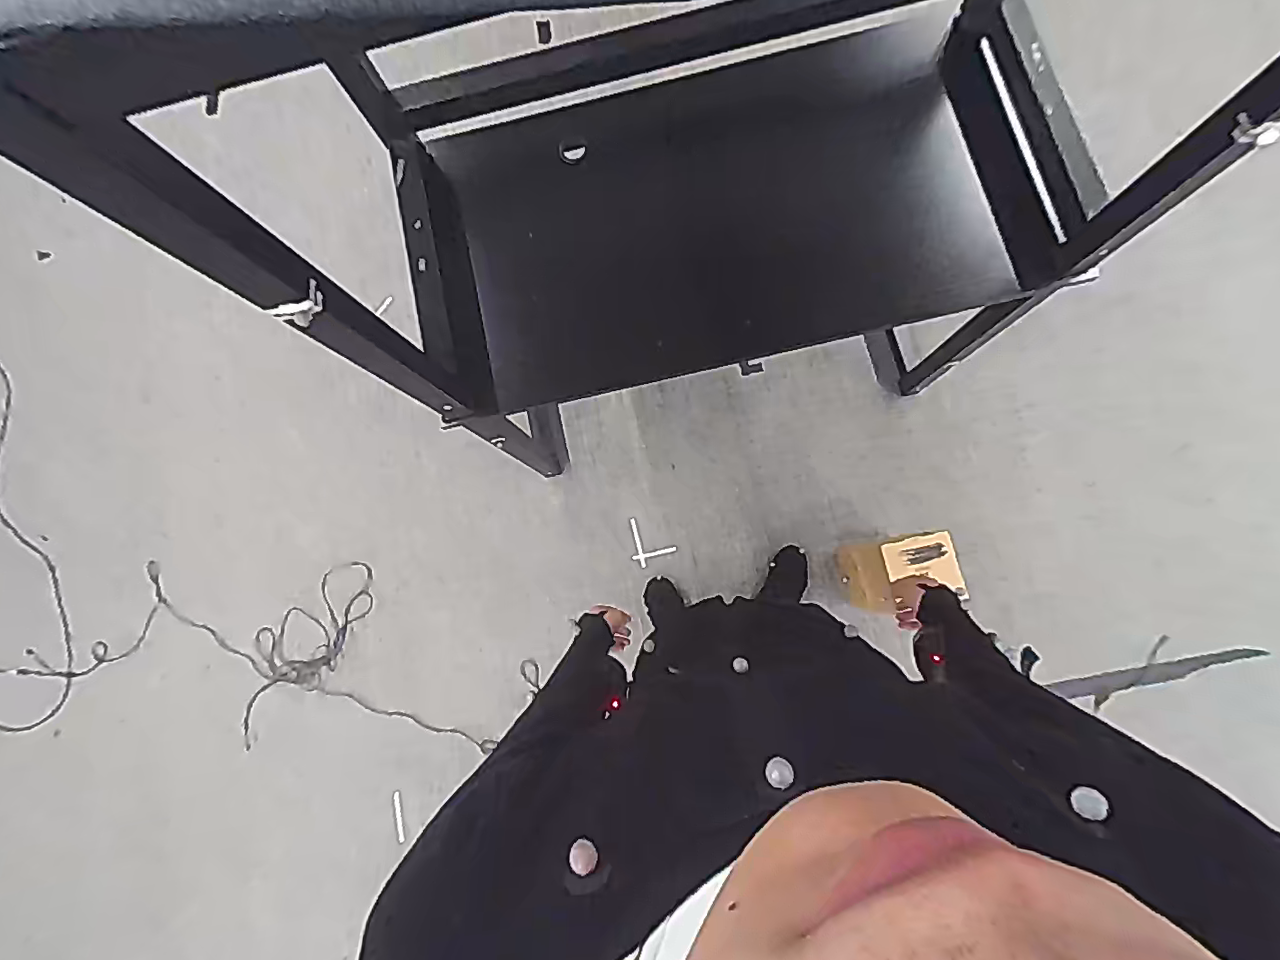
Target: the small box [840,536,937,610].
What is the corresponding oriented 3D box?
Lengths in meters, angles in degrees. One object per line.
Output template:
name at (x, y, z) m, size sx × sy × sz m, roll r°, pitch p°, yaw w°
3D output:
small box at (0.686, 0.255, 1.512) m, size 0.179 × 0.176 × 0.168 m, roll -15°, pitch 80°, yaw 3°
